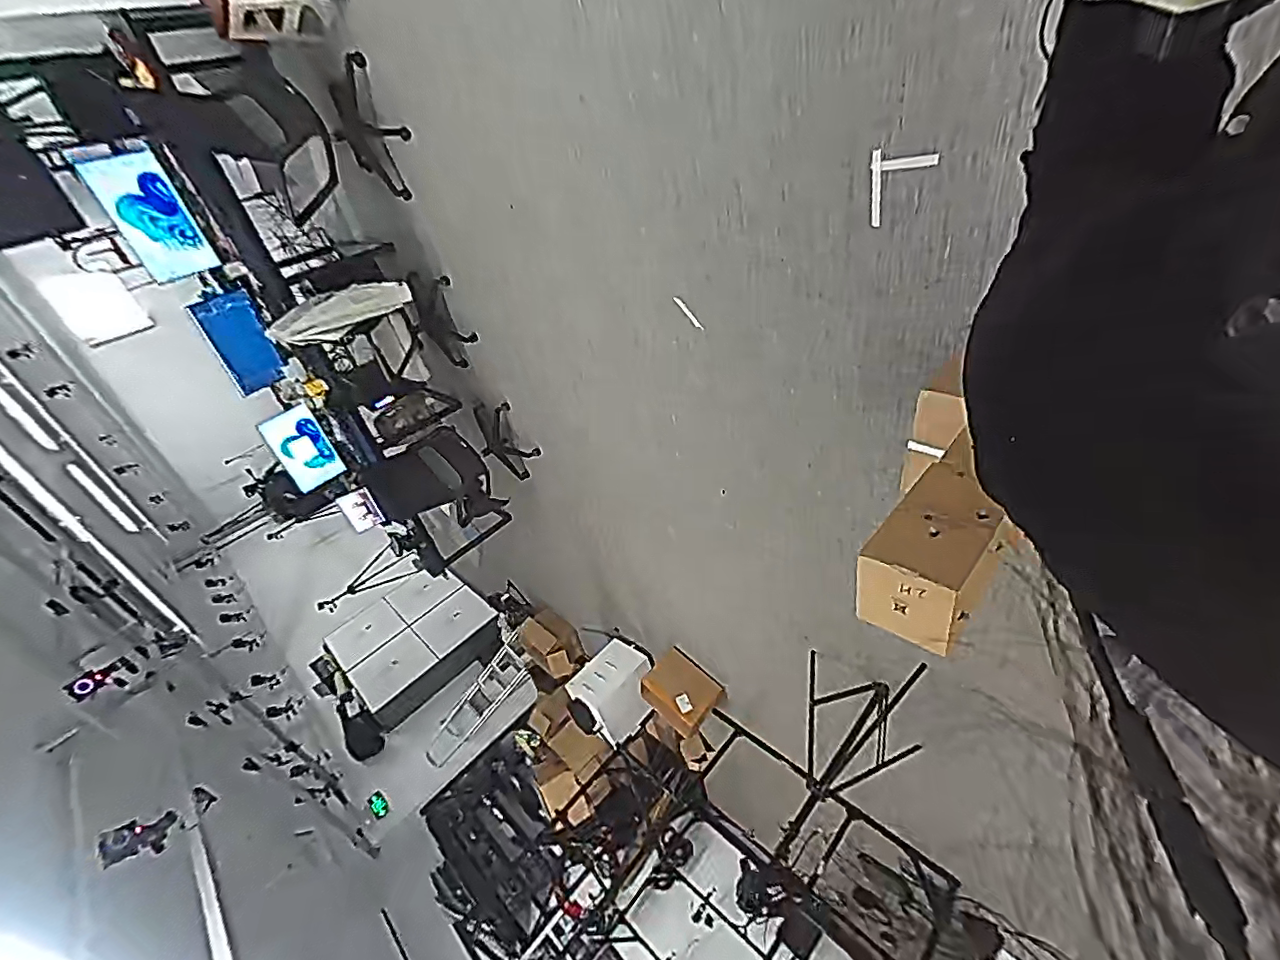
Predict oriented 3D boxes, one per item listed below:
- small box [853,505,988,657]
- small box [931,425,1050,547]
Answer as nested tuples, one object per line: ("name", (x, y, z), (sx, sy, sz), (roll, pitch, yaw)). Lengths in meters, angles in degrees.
("small box", (0.509, 0.178, 0.990), (0.168, 0.176, 0.179), (22, 139, 40))
("small box", (0.741, 0.005, 1.147), (0.168, 0.176, 0.179), (21, 139, 43))
